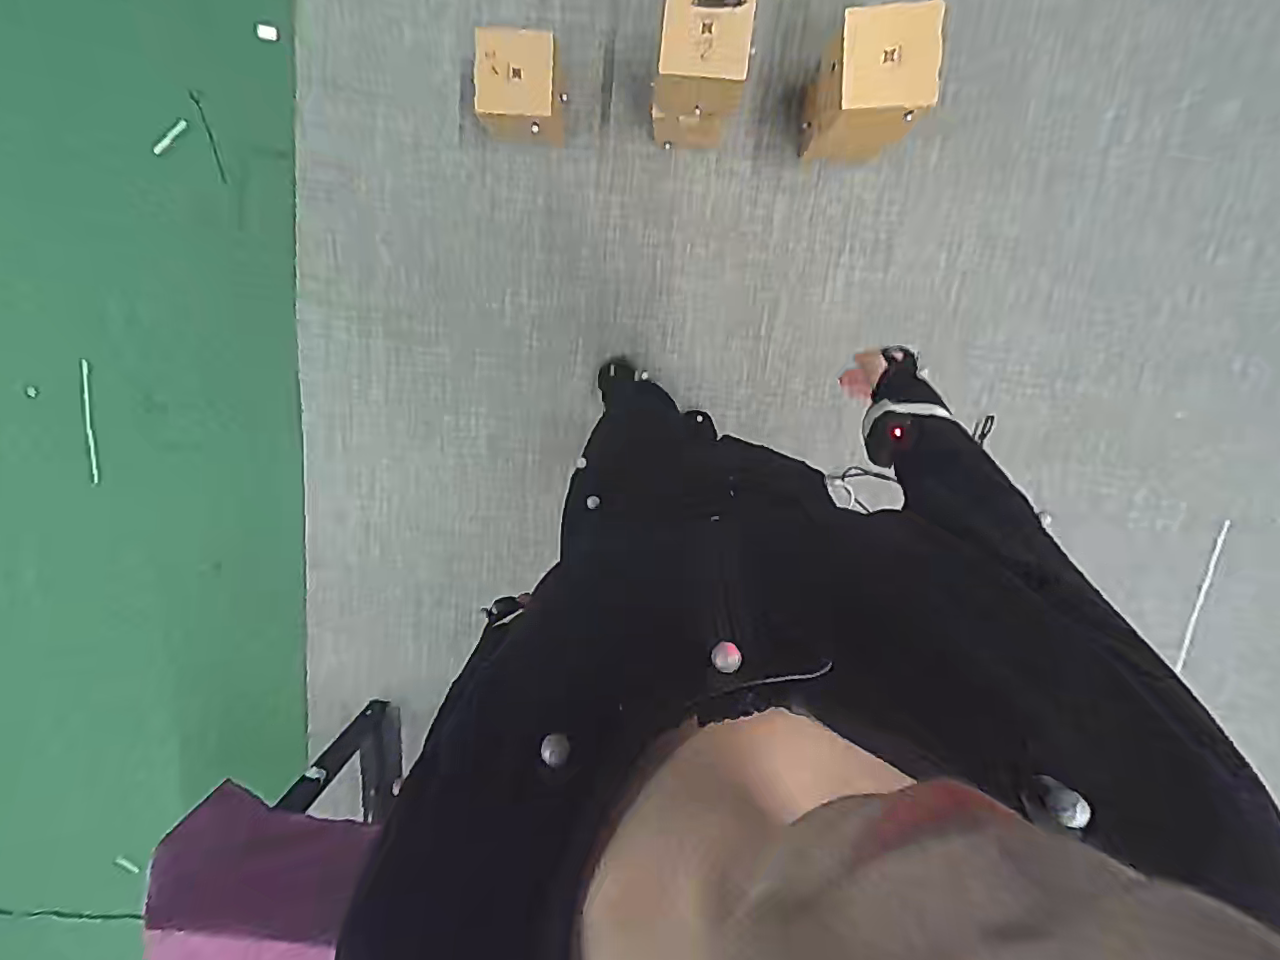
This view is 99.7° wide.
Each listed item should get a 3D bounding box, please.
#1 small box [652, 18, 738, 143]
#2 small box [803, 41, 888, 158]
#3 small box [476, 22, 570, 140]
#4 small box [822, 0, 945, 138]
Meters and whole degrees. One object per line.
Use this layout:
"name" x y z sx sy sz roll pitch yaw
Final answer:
"small box" 0.123 -0.893 1.226 0.168 0.176 0.179 6 102 3
"small box" 0.473 -0.841 1.208 0.179 0.176 0.168 4 103 3
"small box" -0.264 -0.914 1.254 0.179 0.176 0.168 6 102 3
"small box" 0.461 -0.791 1.053 0.179 0.176 0.168 -1 102 4
